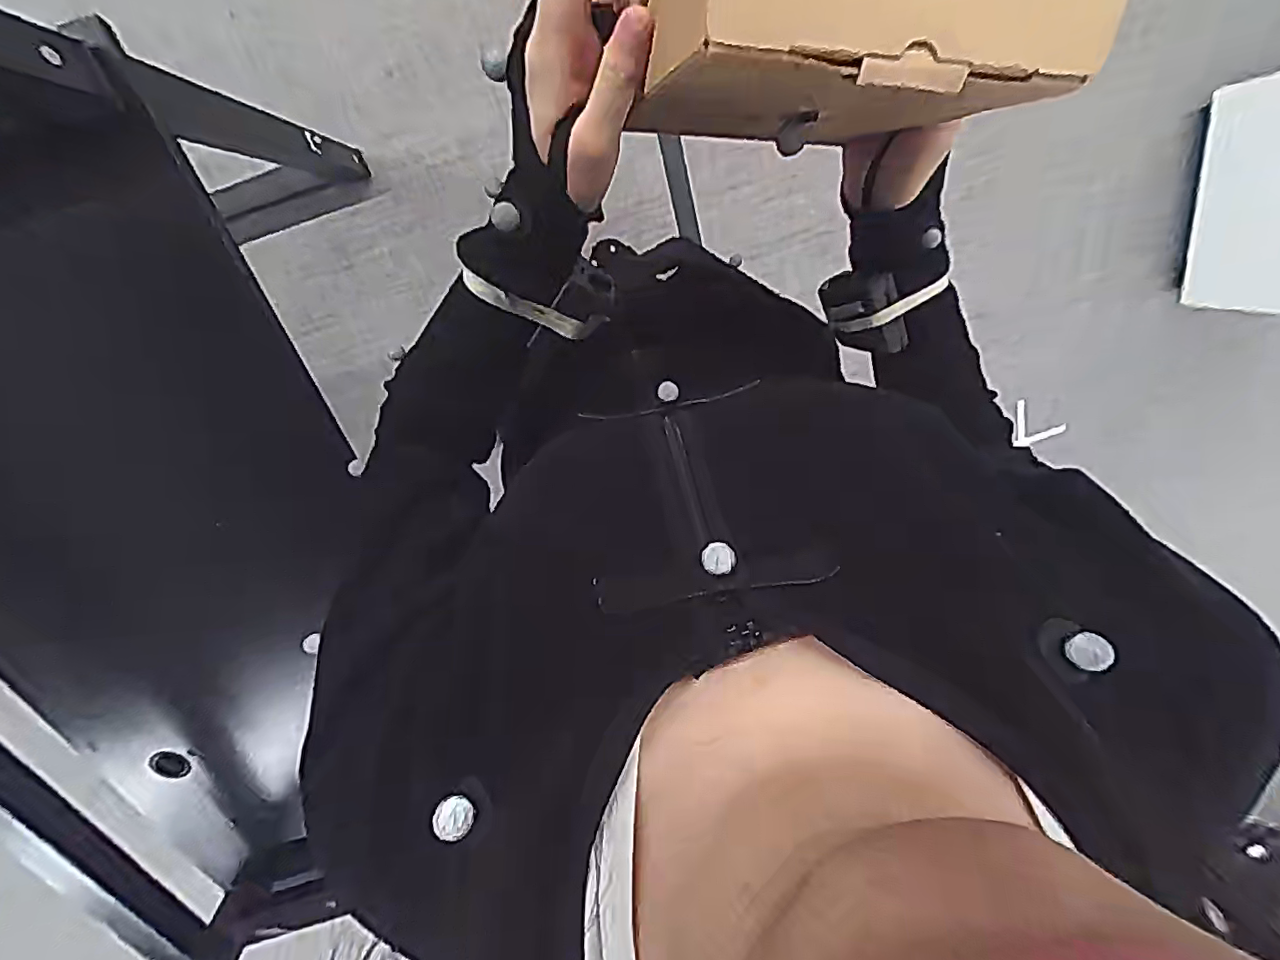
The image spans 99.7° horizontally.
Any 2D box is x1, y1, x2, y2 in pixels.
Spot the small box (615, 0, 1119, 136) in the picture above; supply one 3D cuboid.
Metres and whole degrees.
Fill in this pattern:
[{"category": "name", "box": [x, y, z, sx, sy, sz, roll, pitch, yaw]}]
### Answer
[{"category": "small box", "box": [0.085, -0.262, 0.233, 0.168, 0.176, 0.179, -5, 116, -13]}]
